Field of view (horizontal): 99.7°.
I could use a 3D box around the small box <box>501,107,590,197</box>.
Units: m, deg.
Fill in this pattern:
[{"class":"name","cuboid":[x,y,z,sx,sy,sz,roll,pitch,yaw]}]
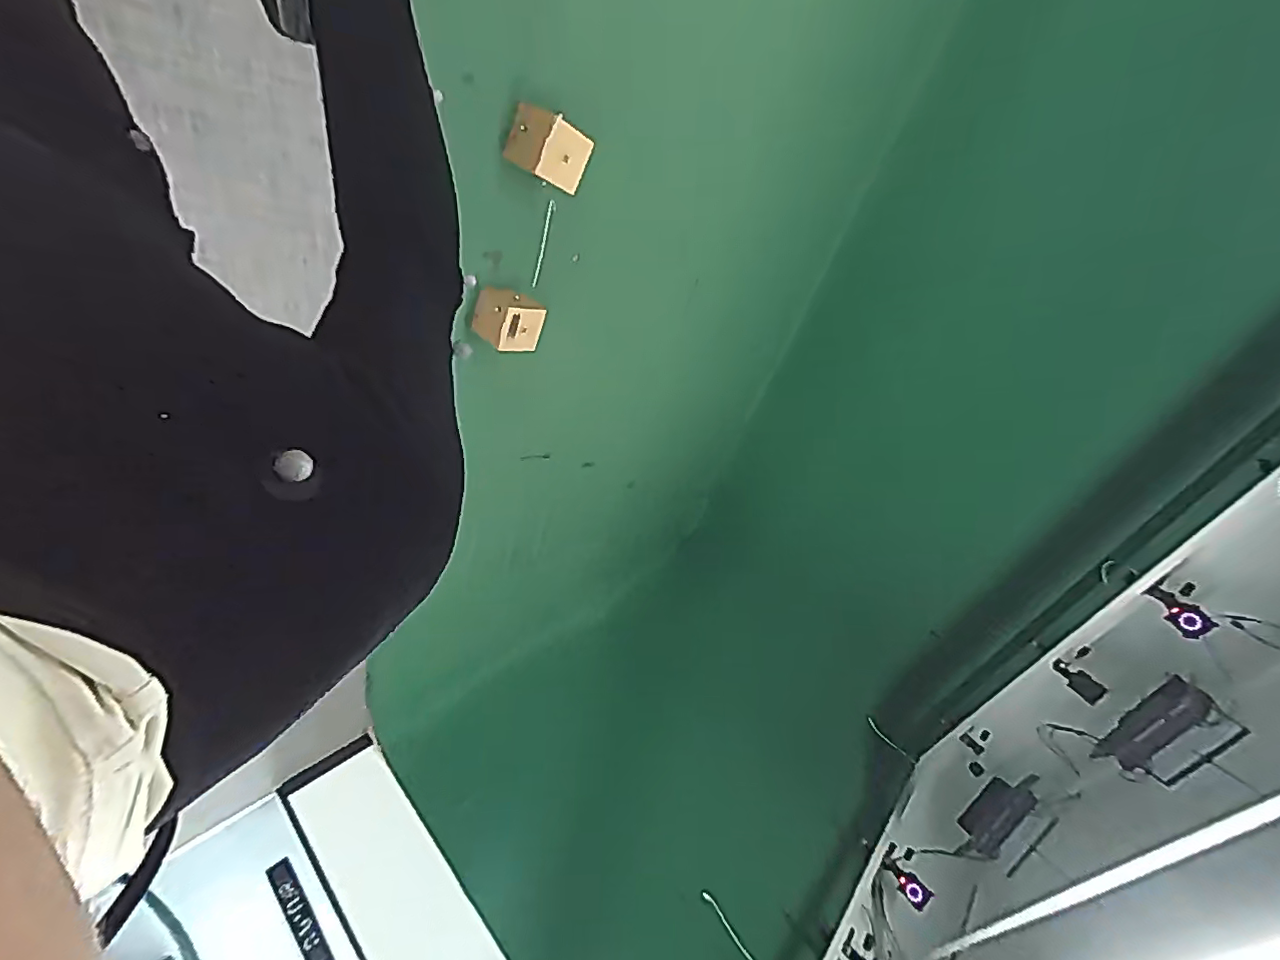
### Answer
[{"class":"small box","cuboid":[-0.296,-1.021,1.683,0.179,0.176,0.168,-4,129,-55]}]
